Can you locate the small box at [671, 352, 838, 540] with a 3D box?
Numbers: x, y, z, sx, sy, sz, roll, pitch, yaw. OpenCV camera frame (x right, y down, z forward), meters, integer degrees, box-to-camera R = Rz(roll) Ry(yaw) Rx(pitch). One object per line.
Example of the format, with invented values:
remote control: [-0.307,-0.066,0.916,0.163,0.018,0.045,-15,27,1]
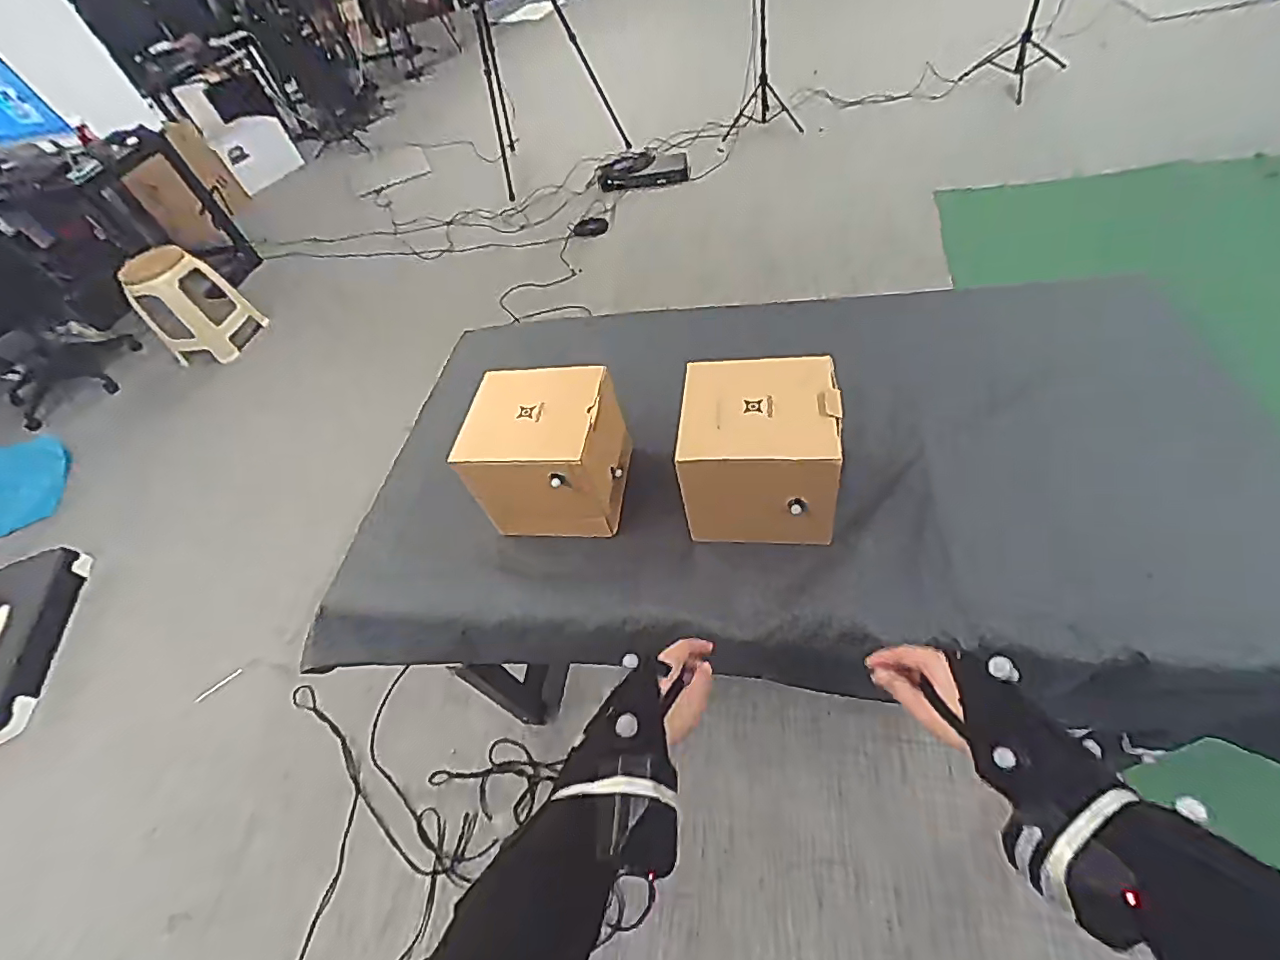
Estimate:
small box: [0.145,-0.037,0.677,0.179,0.176,0.168,-1,51,15]

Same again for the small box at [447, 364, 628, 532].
small box: [-0.127,-0.039,0.748,0.179,0.176,0.168,0,52,13]
